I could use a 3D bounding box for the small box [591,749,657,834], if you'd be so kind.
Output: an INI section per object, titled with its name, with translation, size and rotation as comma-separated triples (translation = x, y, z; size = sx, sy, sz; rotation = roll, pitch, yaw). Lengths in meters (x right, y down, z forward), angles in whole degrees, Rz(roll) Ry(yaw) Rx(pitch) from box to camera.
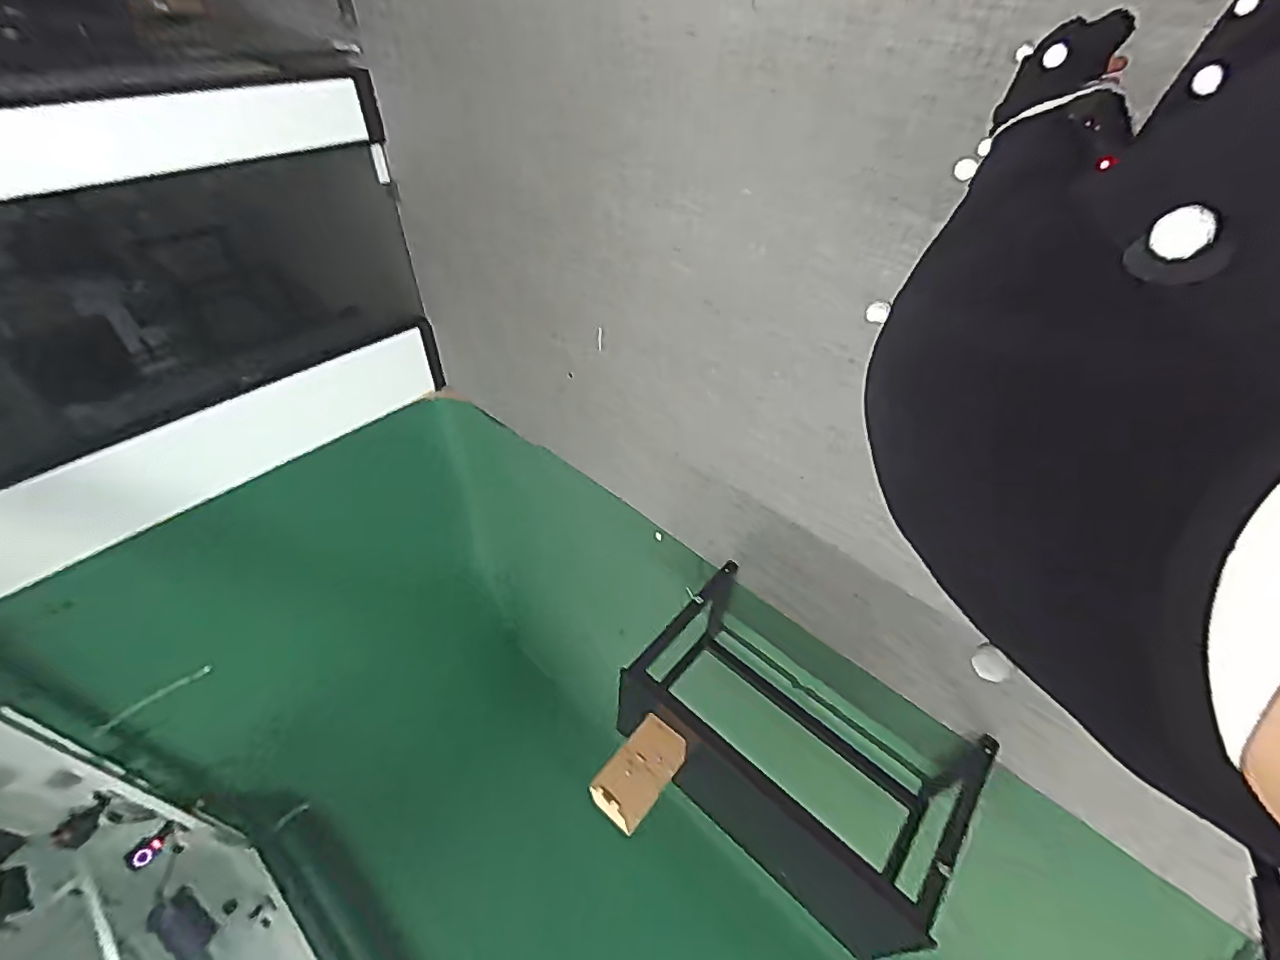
[small box]
translation = -0.050, 1.104, 1.925
size = 0.168, 0.176, 0.179
rotation = 27, 139, 31
